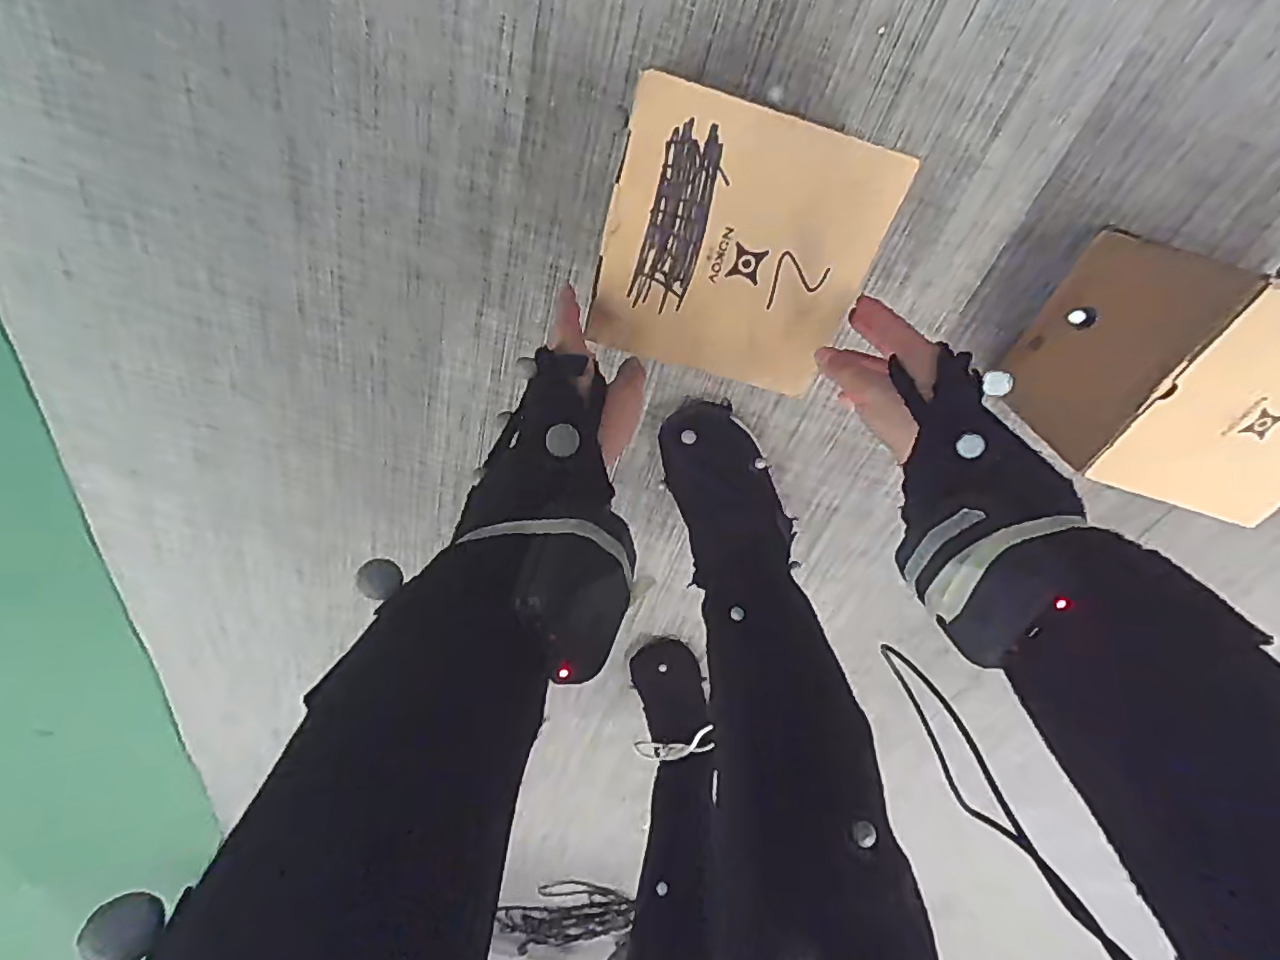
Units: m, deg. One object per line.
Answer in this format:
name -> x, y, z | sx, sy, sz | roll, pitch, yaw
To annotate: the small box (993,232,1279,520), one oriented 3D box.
small box -> 0.466, -0.096, 0.471 | 0.179, 0.176, 0.168 | 16, 126, -7
